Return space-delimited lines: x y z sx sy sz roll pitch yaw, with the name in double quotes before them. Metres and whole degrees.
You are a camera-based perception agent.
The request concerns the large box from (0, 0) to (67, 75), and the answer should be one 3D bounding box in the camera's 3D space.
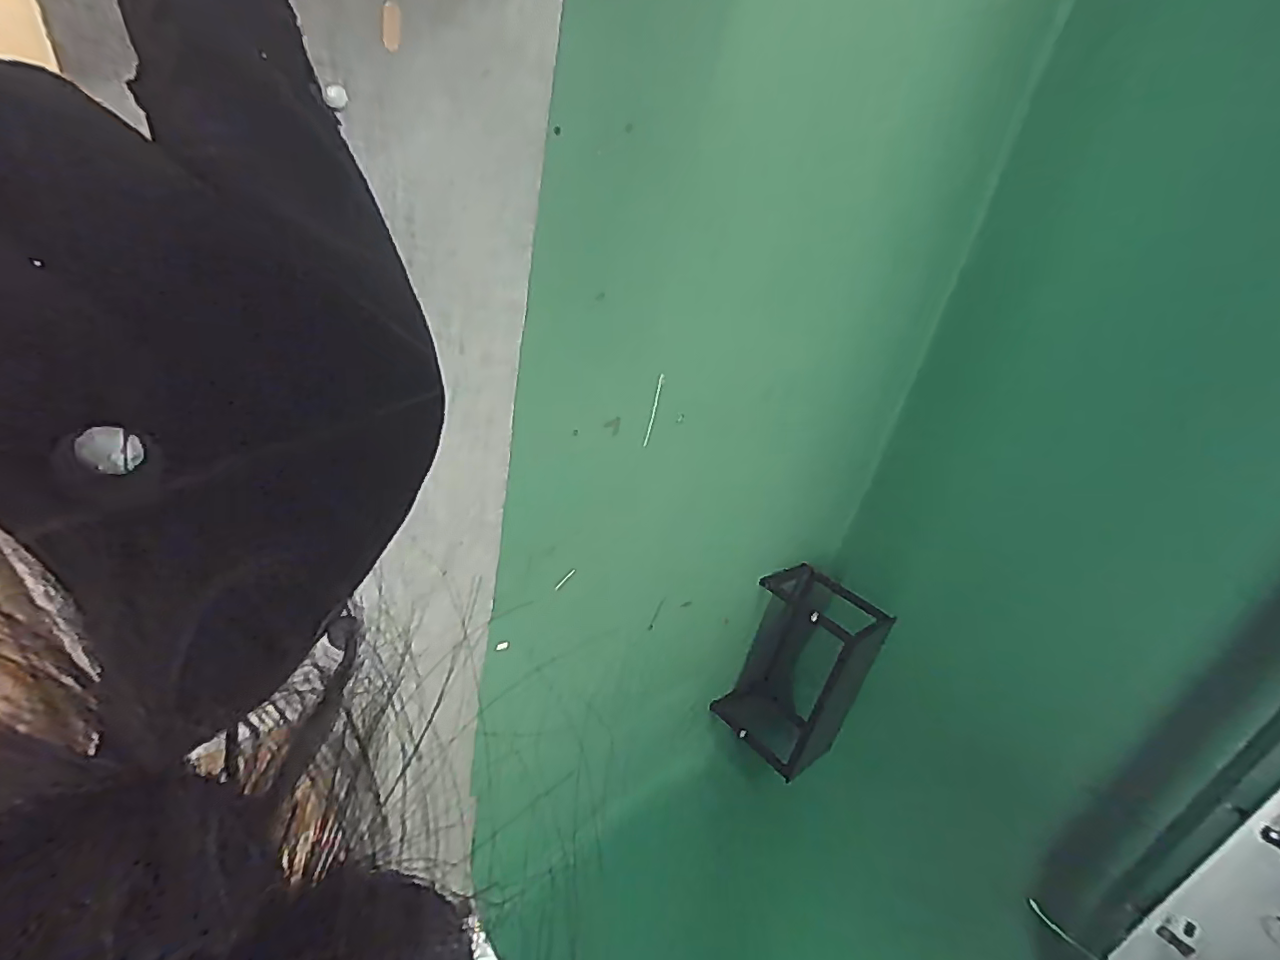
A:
"large box" -1.006 -0.703 0.628 0.408 0.320 0.320 -18 128 -38
